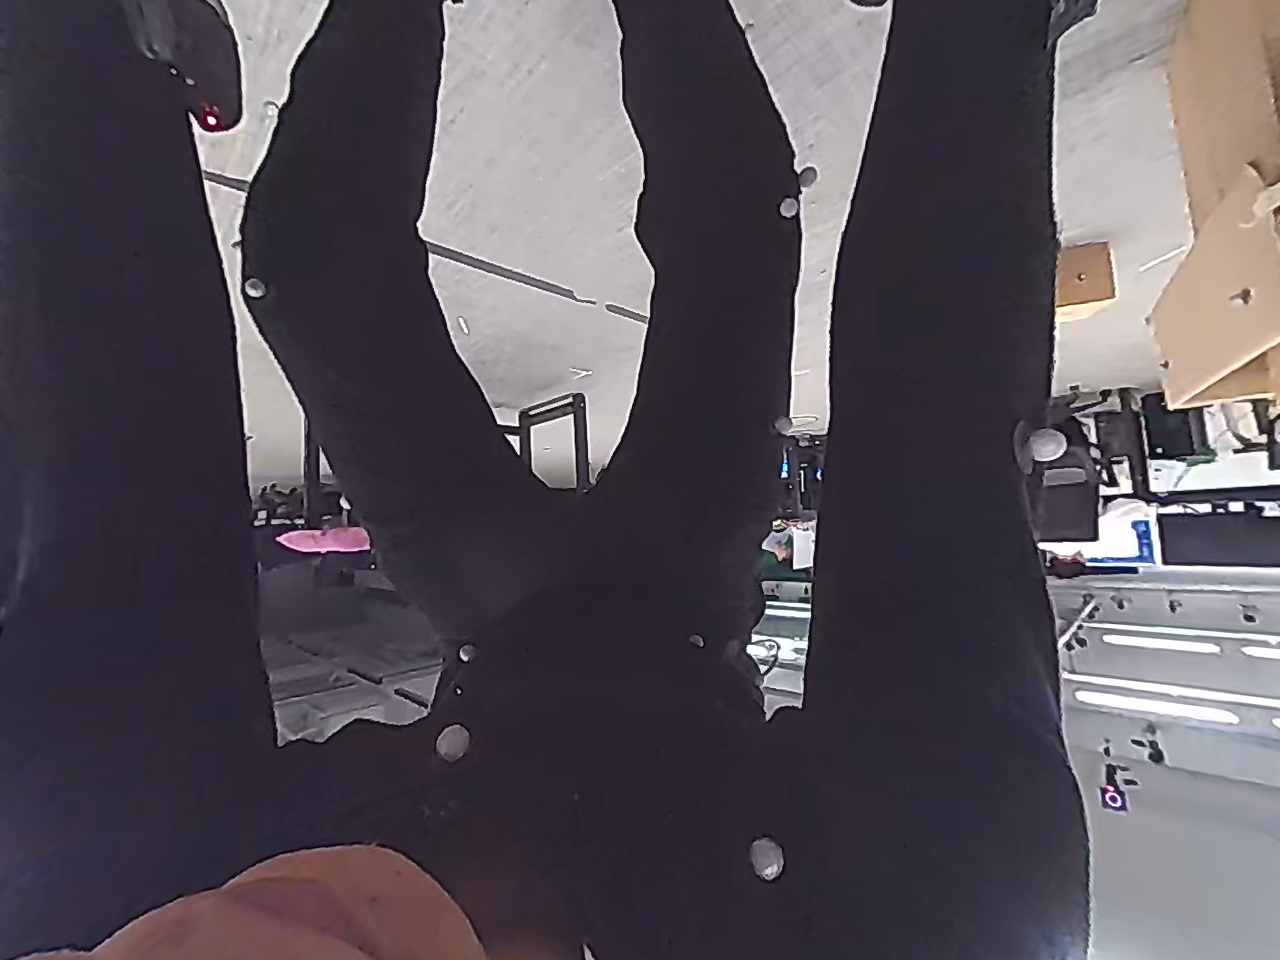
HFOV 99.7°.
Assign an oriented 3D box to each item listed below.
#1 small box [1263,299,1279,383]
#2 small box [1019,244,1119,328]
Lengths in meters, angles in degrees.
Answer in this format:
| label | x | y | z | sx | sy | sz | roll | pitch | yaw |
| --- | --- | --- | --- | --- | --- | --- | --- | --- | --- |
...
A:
| label | x | y | z | sx | sy | sz | roll | pitch | yaw |
| --- | --- | --- | --- | --- | --- | --- | --- | --- | --- |
| small box | 1.042 | -0.208 | 0.755 | 0.179 | 0.176 | 0.168 | -11 | 170 | 35 |
| small box | 1.249 | -0.567 | 1.590 | 0.179 | 0.176 | 0.168 | -5 | 175 | 13 |
